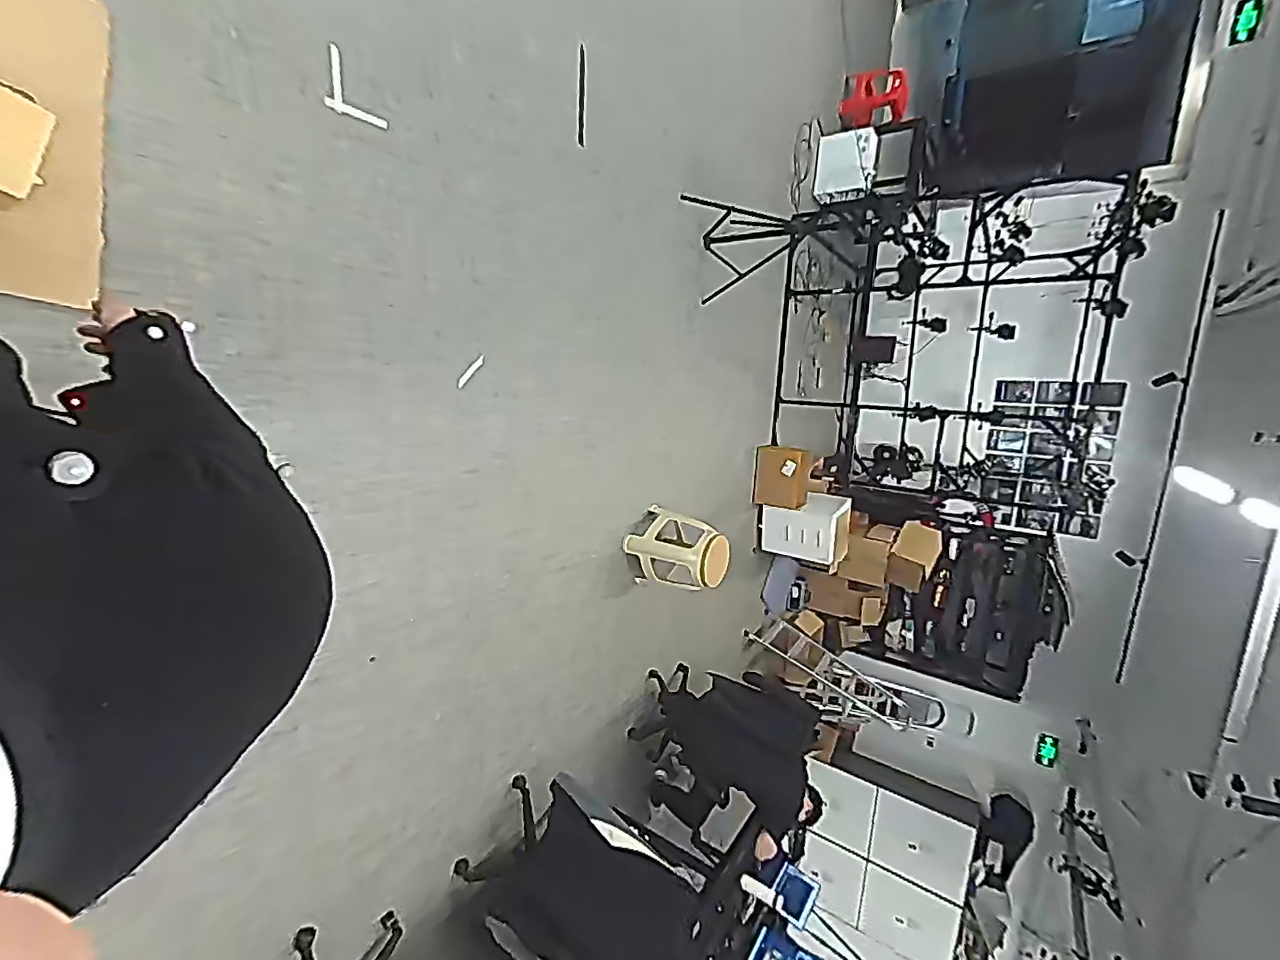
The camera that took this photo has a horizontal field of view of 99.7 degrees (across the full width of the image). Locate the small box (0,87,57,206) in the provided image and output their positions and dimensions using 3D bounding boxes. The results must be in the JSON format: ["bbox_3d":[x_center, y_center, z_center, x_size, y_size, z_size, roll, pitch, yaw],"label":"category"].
[{"bbox_3d":[-1.164,-0.596,0.924,0.179,0.176,0.168,22,80,-55],"label":"small box"}]
